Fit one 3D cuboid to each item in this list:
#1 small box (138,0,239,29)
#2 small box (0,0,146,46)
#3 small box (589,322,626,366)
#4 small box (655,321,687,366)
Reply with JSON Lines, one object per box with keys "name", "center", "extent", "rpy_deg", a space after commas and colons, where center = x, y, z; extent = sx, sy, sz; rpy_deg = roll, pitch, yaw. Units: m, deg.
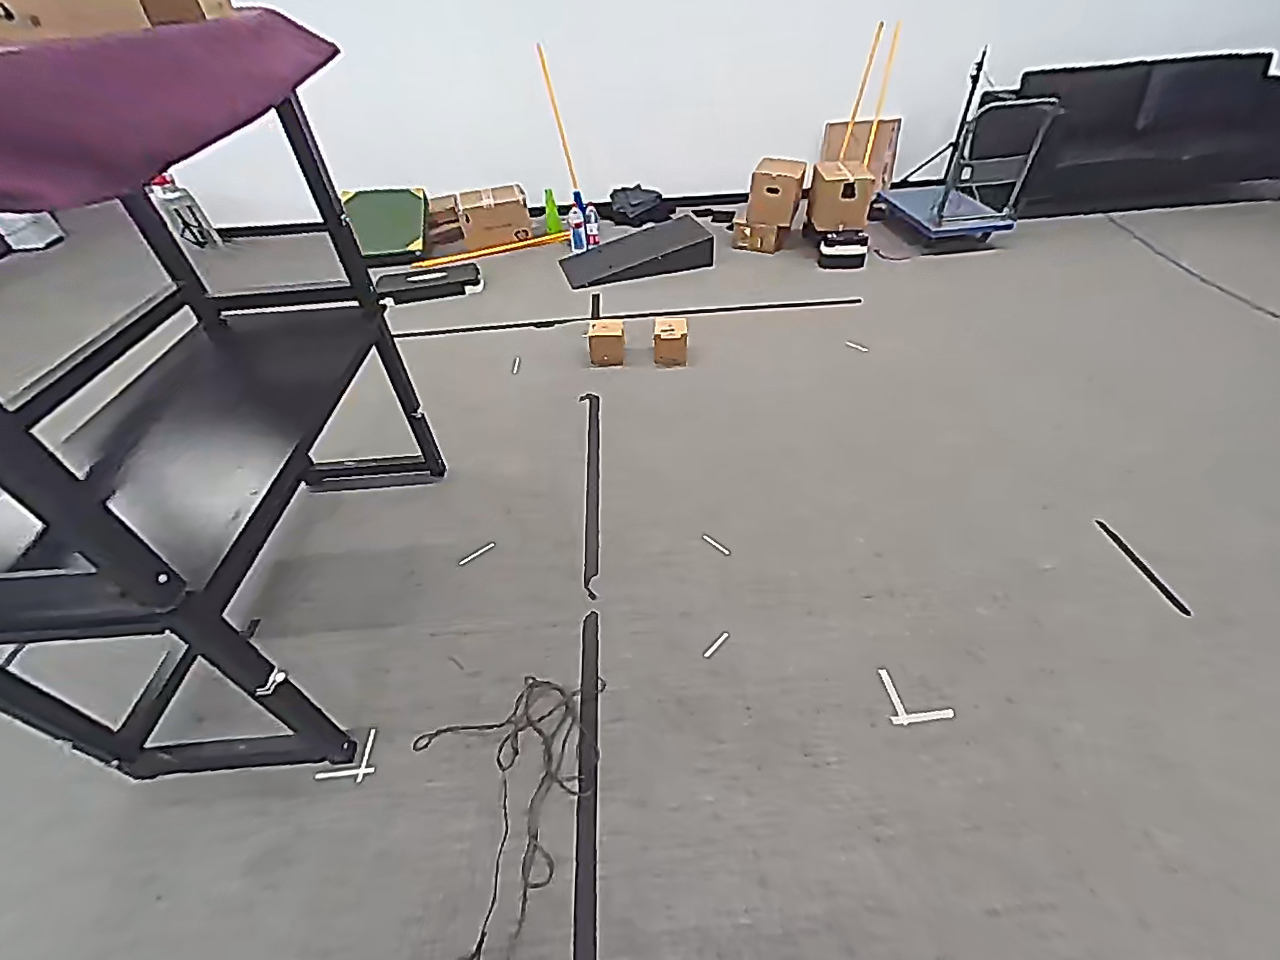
{"name": "small box", "center": [-0.982, -1.039, 1.104], "extent": [0.179, 0.176, 0.168], "rpy_deg": [-8, 45, -4]}
{"name": "small box", "center": [-0.978, -0.827, 0.886], "extent": [0.168, 0.176, 0.179], "rpy_deg": [-2, 44, 3]}
{"name": "small box", "center": [-0.167, -0.710, 2.838], "extent": [0.179, 0.176, 0.168], "rpy_deg": [1, 43, 2]}
{"name": "small box", "center": [0.165, -0.711, 2.823], "extent": [0.168, 0.176, 0.179], "rpy_deg": [1, 43, 3]}
